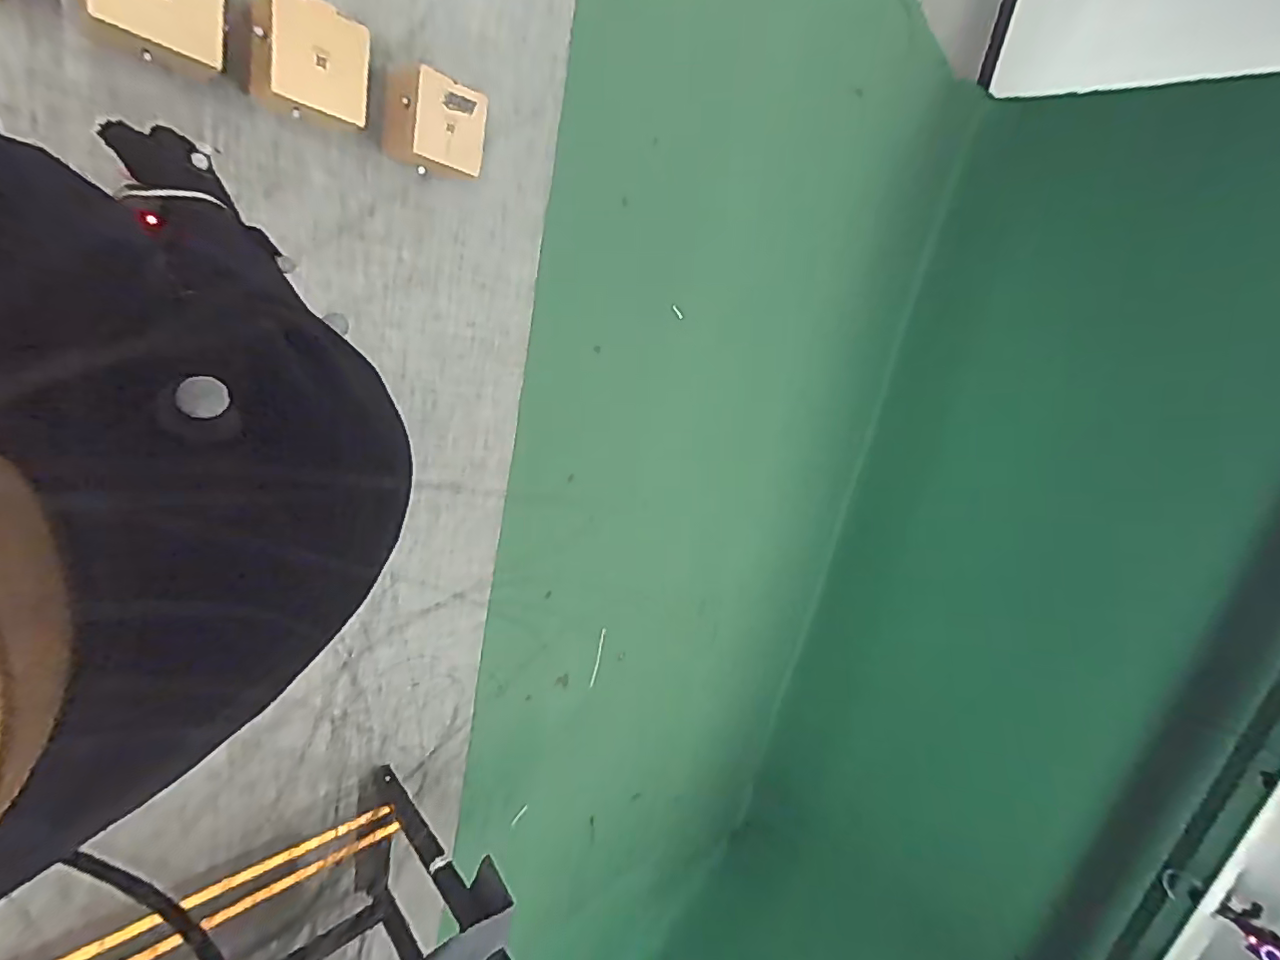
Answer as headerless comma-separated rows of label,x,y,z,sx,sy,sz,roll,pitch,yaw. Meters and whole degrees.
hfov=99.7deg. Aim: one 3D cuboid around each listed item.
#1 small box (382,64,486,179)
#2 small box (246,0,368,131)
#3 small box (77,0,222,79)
small box,-0.487,-0.830,1.270,0.168,0.176,0.179,-5,114,-47
small box,-0.663,-0.821,1.075,0.168,0.176,0.179,-7,114,-48
small box,-0.817,-0.808,0.901,0.168,0.176,0.179,-4,112,-48
